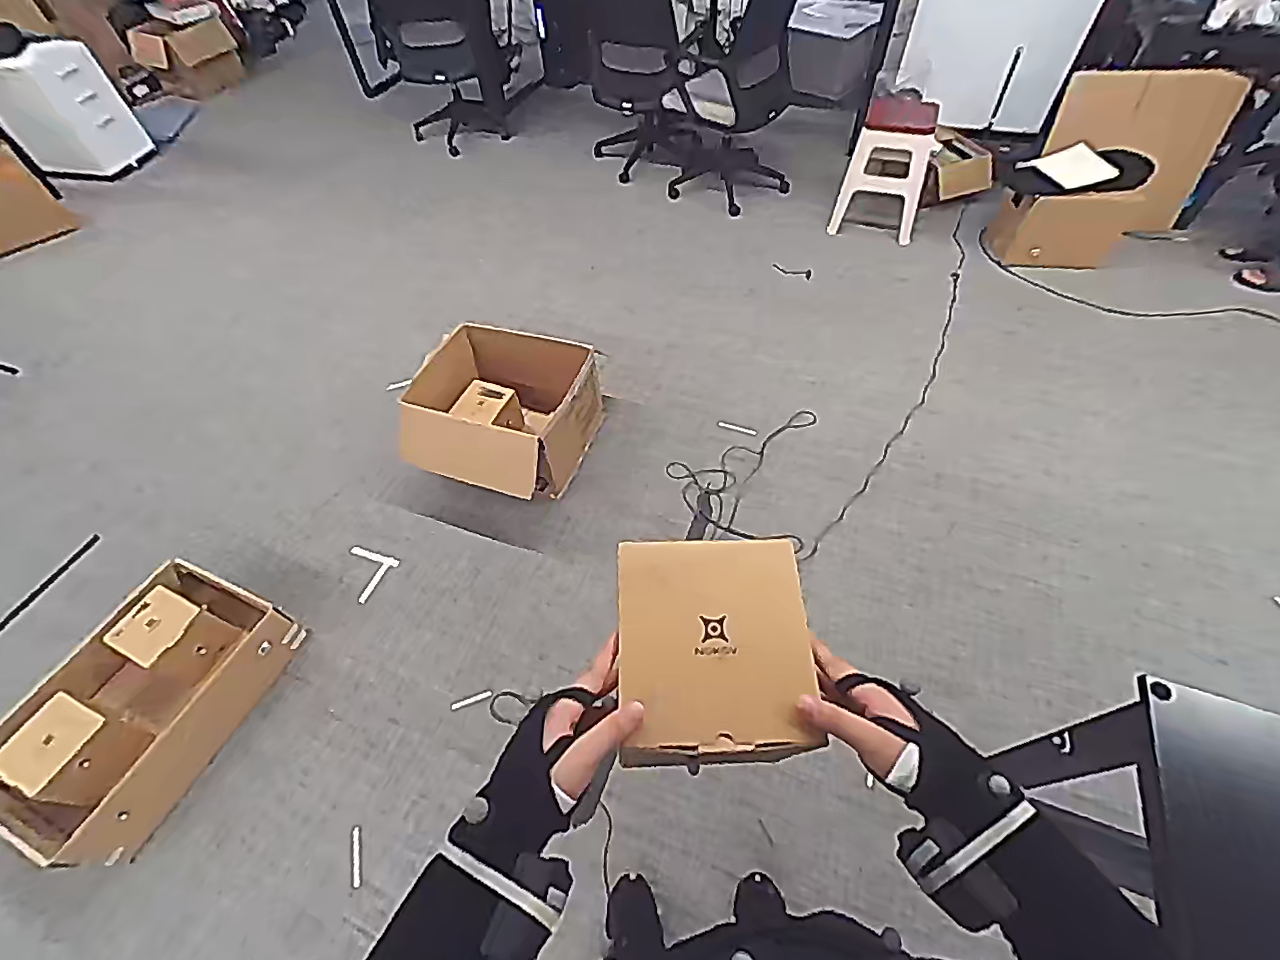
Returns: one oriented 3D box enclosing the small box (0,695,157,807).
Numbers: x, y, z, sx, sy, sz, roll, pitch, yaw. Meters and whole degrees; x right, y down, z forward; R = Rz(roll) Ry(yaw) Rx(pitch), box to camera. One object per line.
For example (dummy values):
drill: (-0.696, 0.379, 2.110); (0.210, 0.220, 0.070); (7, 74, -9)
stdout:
small box: (-1.329, 0.650, 1.287); (0.168, 0.176, 0.179); (18, 55, 13)

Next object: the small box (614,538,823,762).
small box: (0.058, 0.171, 0.531); (0.168, 0.176, 0.179); (-1, 60, -2)

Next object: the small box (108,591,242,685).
small box: (-1.228, 0.428, 1.445); (0.179, 0.176, 0.168); (20, 58, 15)
